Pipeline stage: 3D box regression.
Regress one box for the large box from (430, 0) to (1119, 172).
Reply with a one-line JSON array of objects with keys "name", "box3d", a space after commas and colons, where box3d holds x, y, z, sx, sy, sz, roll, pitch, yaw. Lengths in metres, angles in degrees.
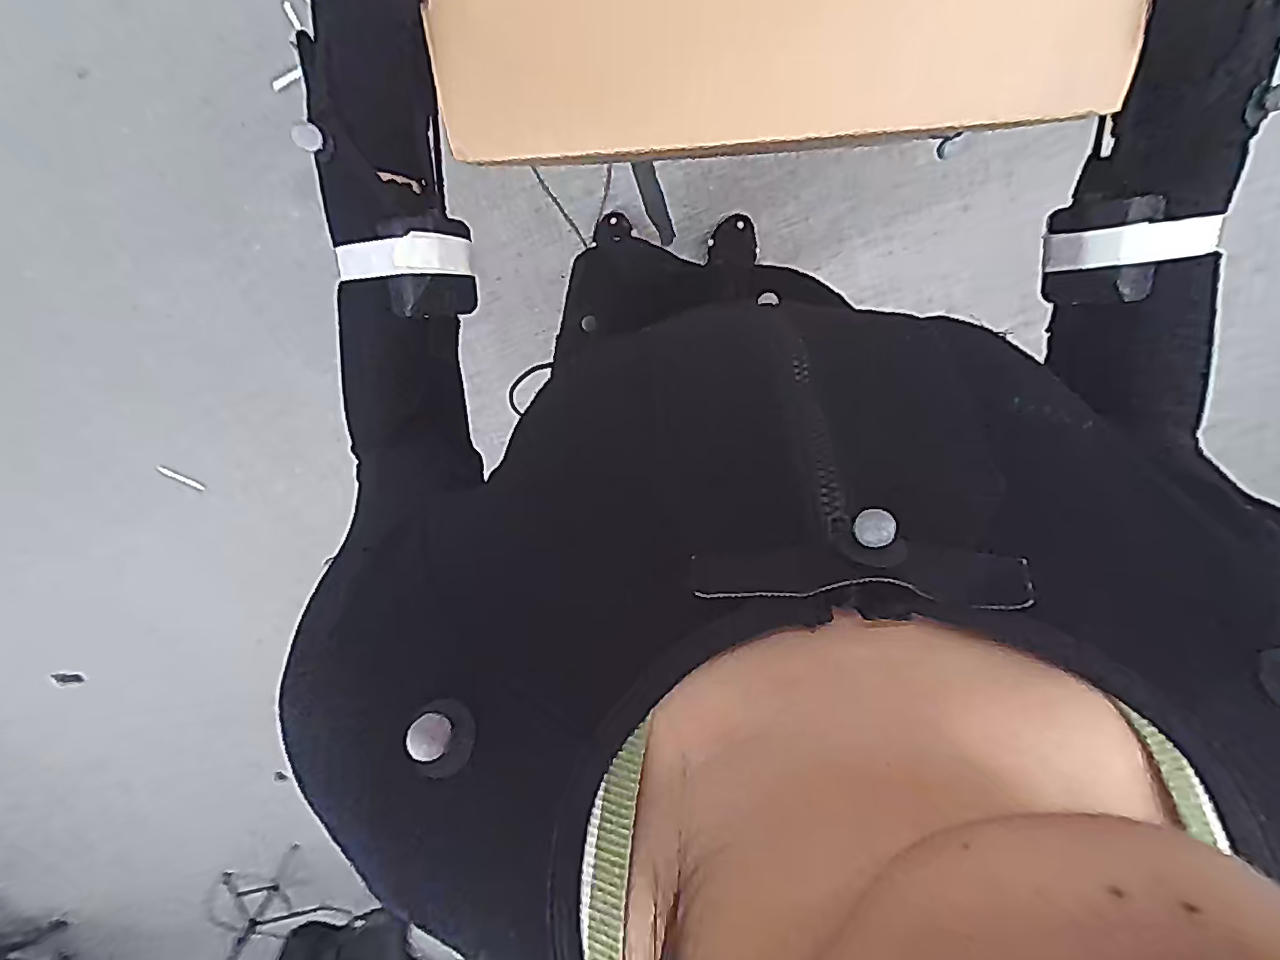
[{"name": "large box", "box3d": [0.075, -0.426, 0.399, 0.408, 0.320, 0.320, -2, 119, 5]}]
